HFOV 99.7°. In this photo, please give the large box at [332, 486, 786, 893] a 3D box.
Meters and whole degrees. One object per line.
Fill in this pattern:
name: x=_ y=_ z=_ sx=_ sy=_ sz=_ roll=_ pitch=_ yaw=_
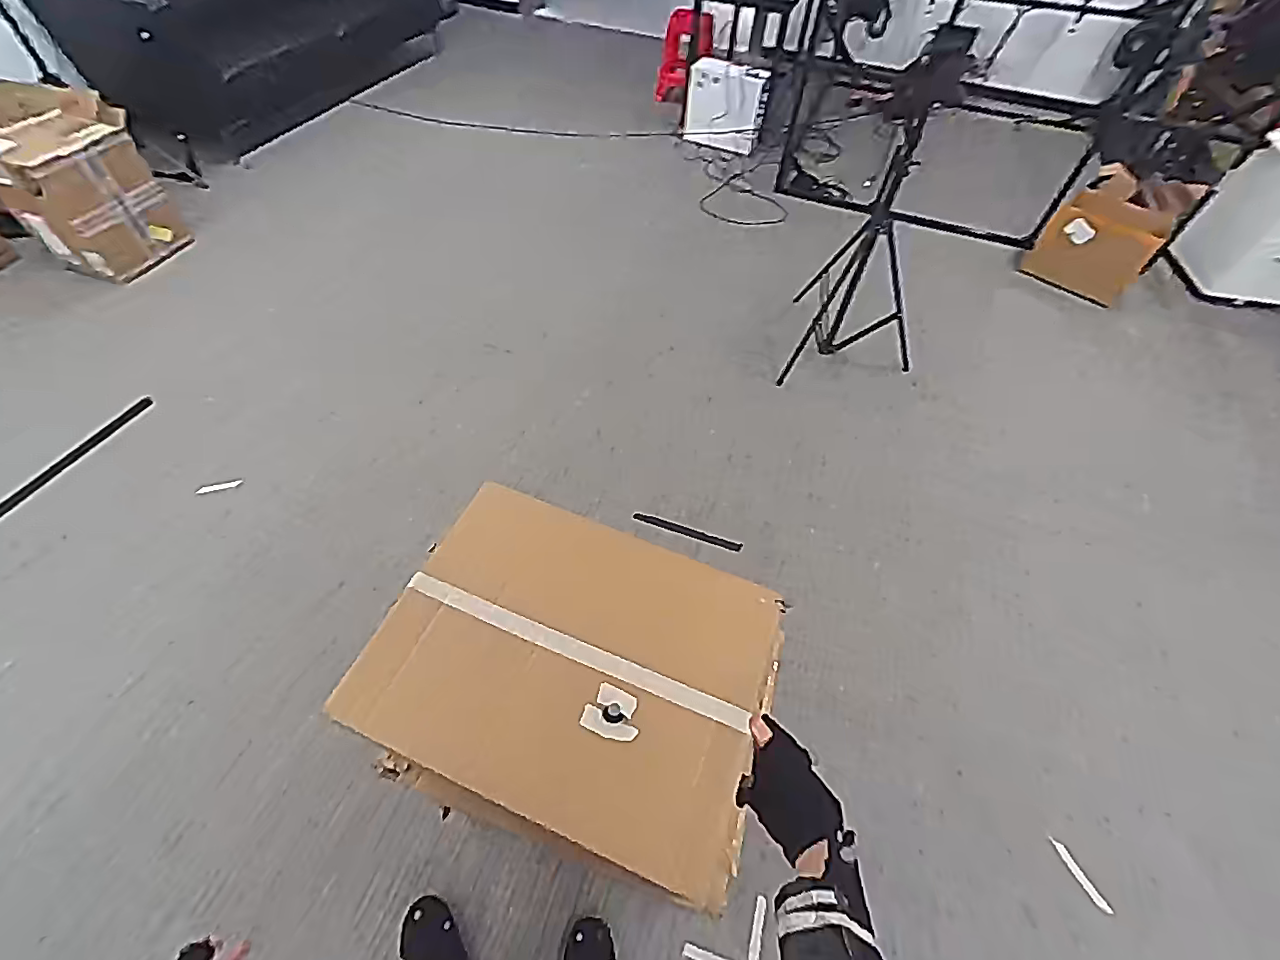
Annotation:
large box: x=-0.077 y=0.268 z=0.699 sx=0.408 sy=0.320 sz=0.320 roll=20 pitch=56 yaw=10
